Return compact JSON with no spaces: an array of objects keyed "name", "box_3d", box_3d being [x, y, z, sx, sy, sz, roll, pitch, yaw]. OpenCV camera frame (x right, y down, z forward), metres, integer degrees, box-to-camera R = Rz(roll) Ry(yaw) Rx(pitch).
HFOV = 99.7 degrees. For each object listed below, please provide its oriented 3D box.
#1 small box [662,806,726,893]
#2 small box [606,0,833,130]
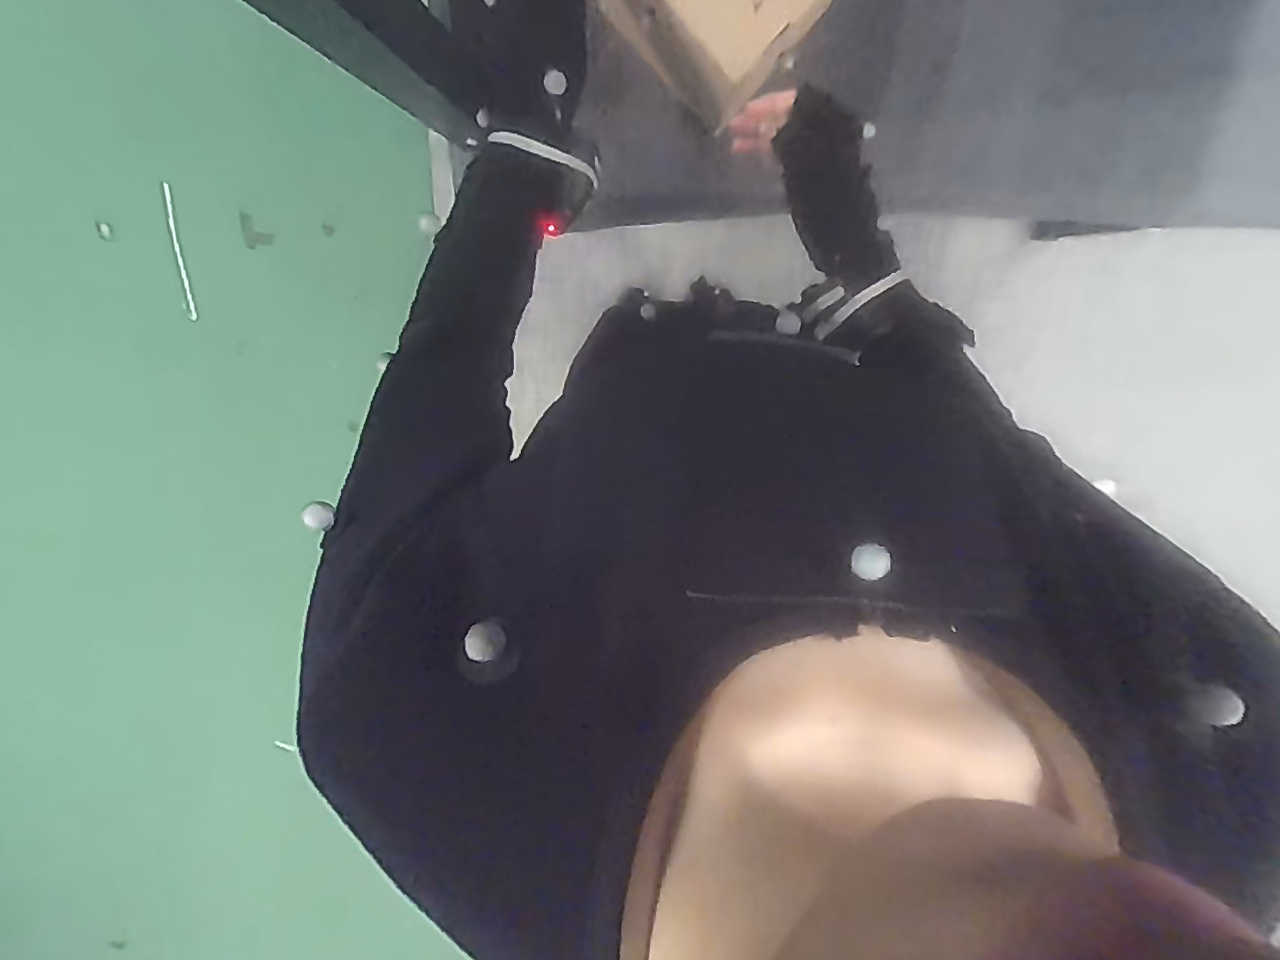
[{"name":"small box","box_3d":[0.182,1.271,1.869,0.179,0.176,0.168,17,108,-3]},{"name":"small box","box_3d":[0.075,-0.467,0.496,0.179,0.176,0.168,42,106,-12]}]
